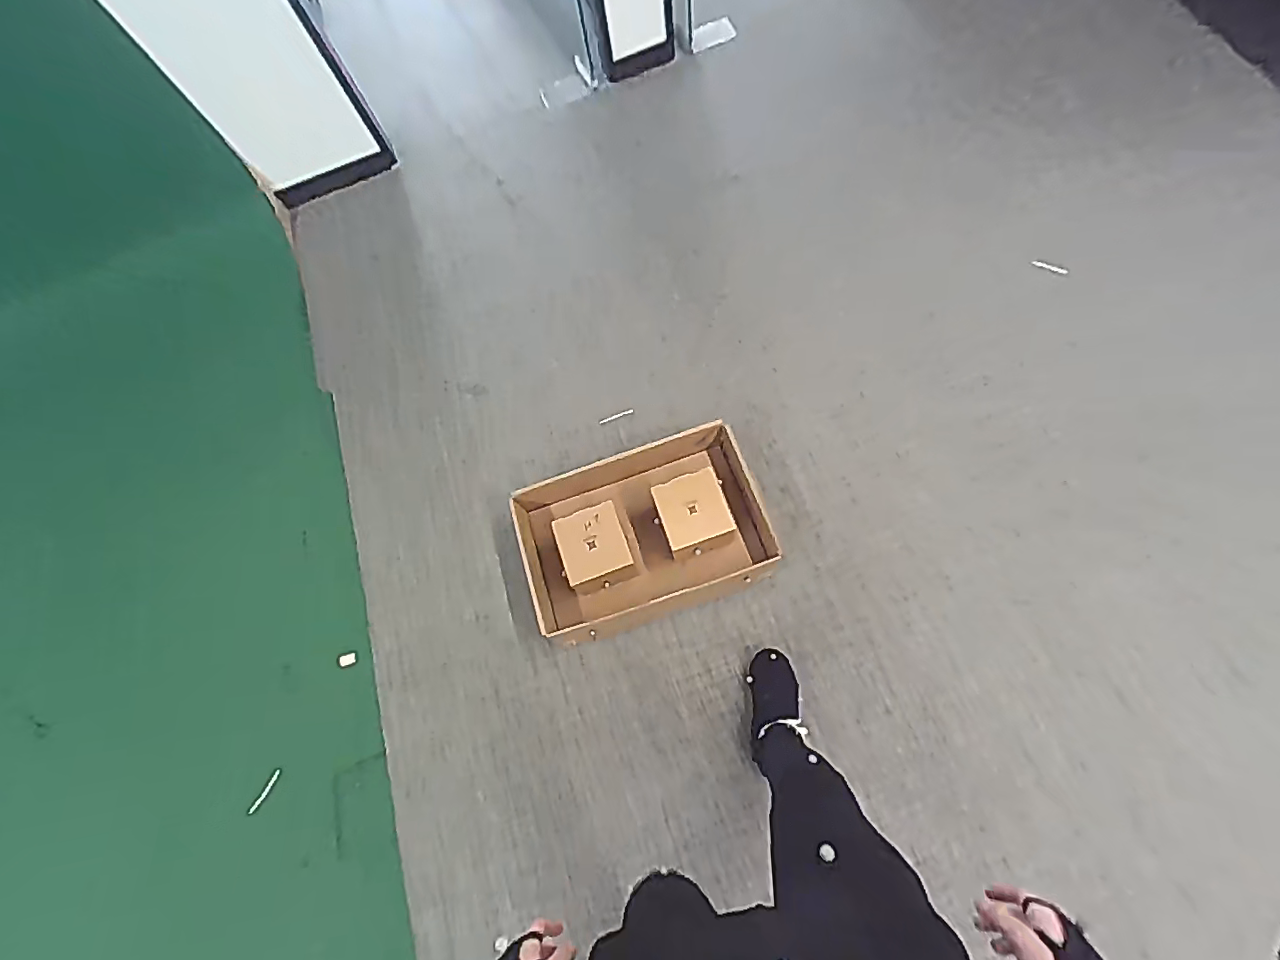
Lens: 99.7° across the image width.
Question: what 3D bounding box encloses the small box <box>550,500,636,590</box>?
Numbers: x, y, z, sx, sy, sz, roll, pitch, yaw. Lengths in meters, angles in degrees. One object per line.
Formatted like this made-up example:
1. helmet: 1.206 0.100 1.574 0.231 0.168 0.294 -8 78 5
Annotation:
1. small box: -0.116 0.178 1.401 0.168 0.176 0.179 -19 69 -2

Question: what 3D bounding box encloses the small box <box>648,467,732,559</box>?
1. small box: 0.133 0.094 1.402 0.168 0.176 0.179 -20 69 0
